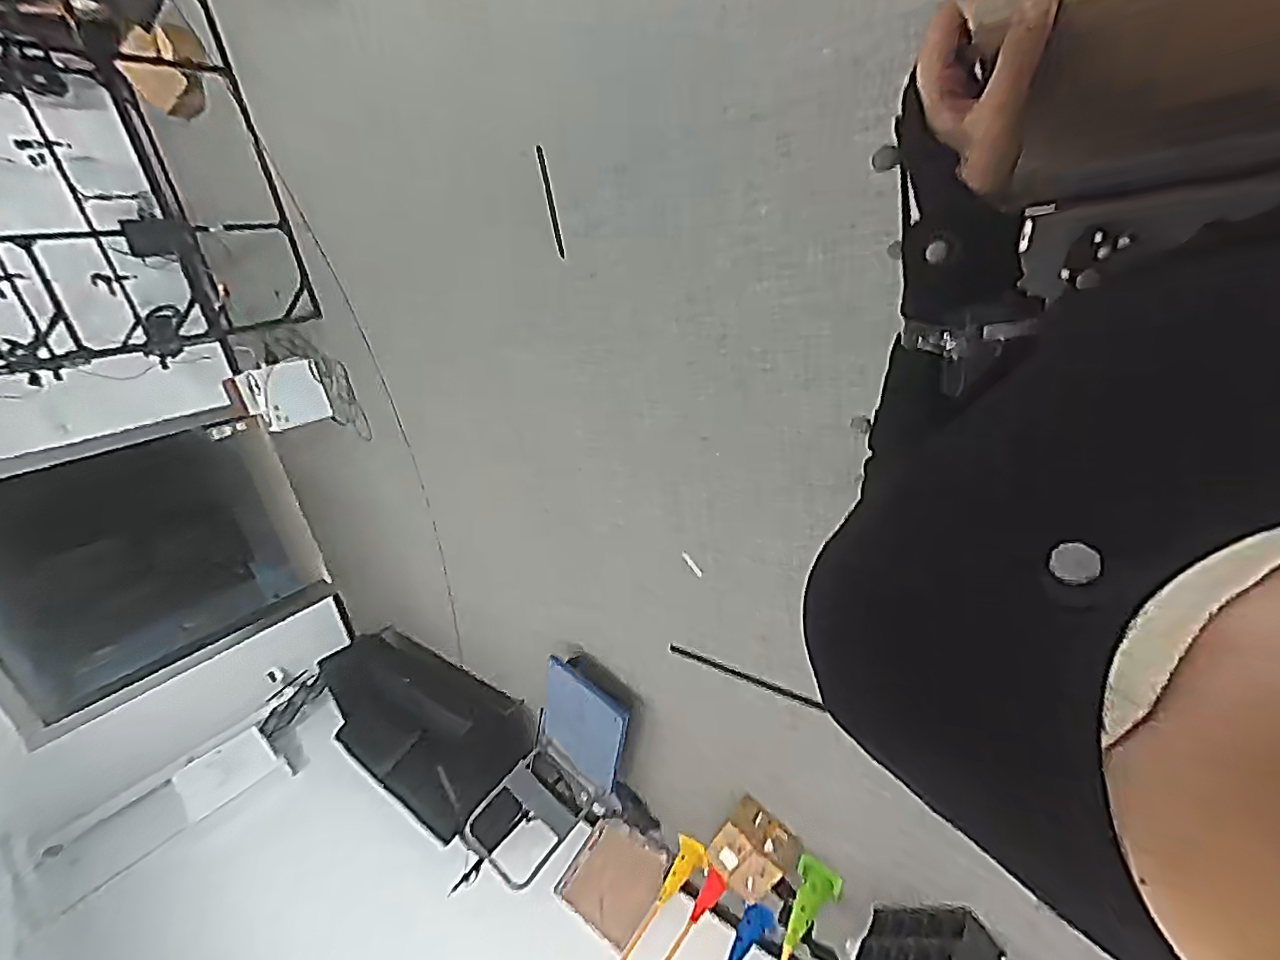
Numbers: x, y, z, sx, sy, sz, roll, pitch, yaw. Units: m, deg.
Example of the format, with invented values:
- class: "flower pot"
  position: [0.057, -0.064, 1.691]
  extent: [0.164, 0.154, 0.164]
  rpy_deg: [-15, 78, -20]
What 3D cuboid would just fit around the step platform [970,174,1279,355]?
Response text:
- class: "step platform"
  position: [1.008, -0.393, 0.989]
  extent: [0.684, 0.204, 0.286]
  rpy_deg: [16, 123, 38]
